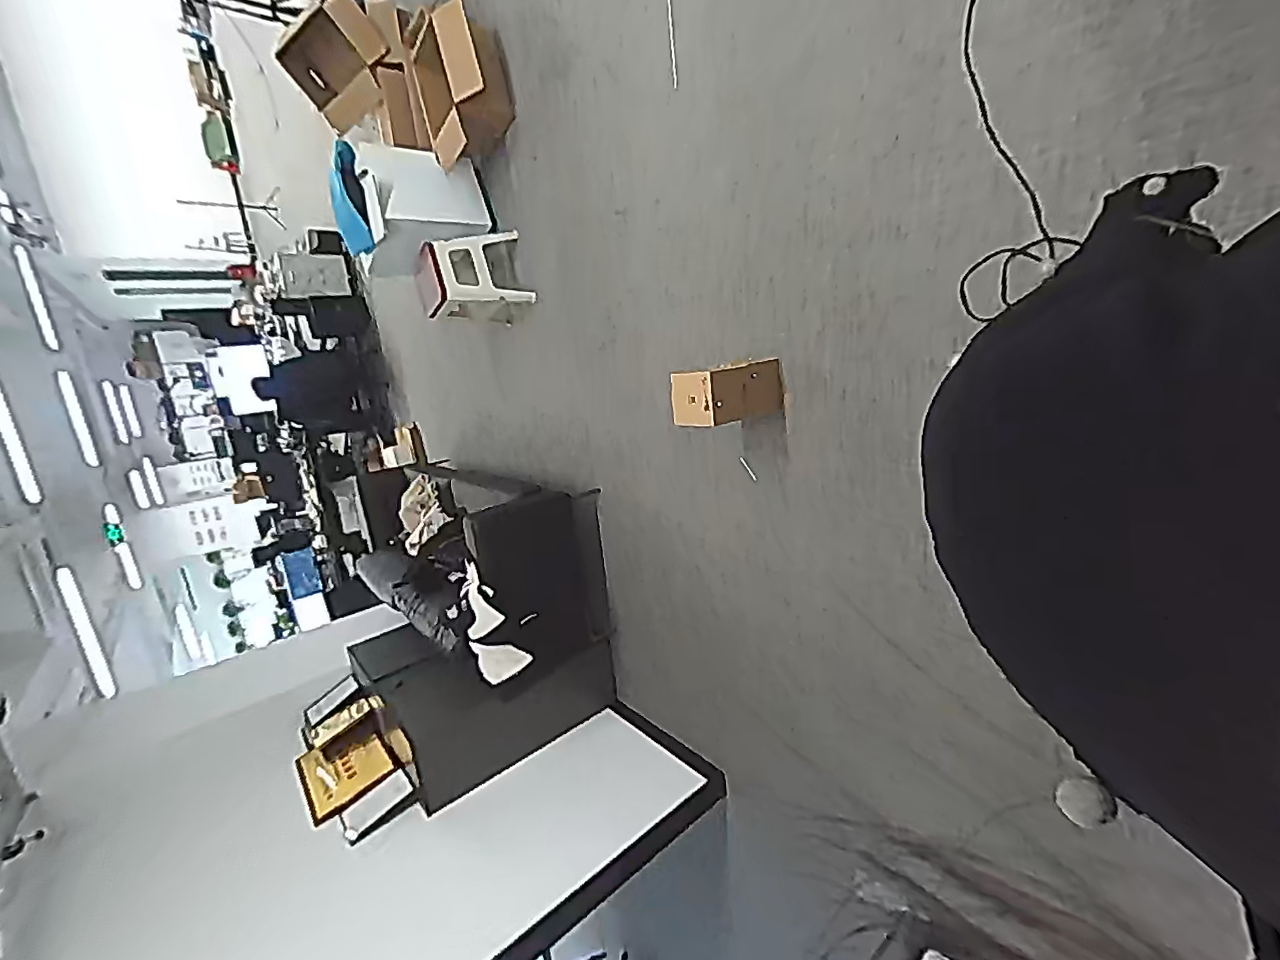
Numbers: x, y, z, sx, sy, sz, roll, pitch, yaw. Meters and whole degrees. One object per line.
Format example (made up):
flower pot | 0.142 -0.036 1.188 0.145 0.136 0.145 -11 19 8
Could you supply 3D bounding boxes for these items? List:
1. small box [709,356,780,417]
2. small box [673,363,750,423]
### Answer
small box | 0.351 -0.313 1.799 0.168 0.176 0.179 11 111 50
small box | 0.226 -0.275 1.699 0.179 0.176 0.168 11 112 50
